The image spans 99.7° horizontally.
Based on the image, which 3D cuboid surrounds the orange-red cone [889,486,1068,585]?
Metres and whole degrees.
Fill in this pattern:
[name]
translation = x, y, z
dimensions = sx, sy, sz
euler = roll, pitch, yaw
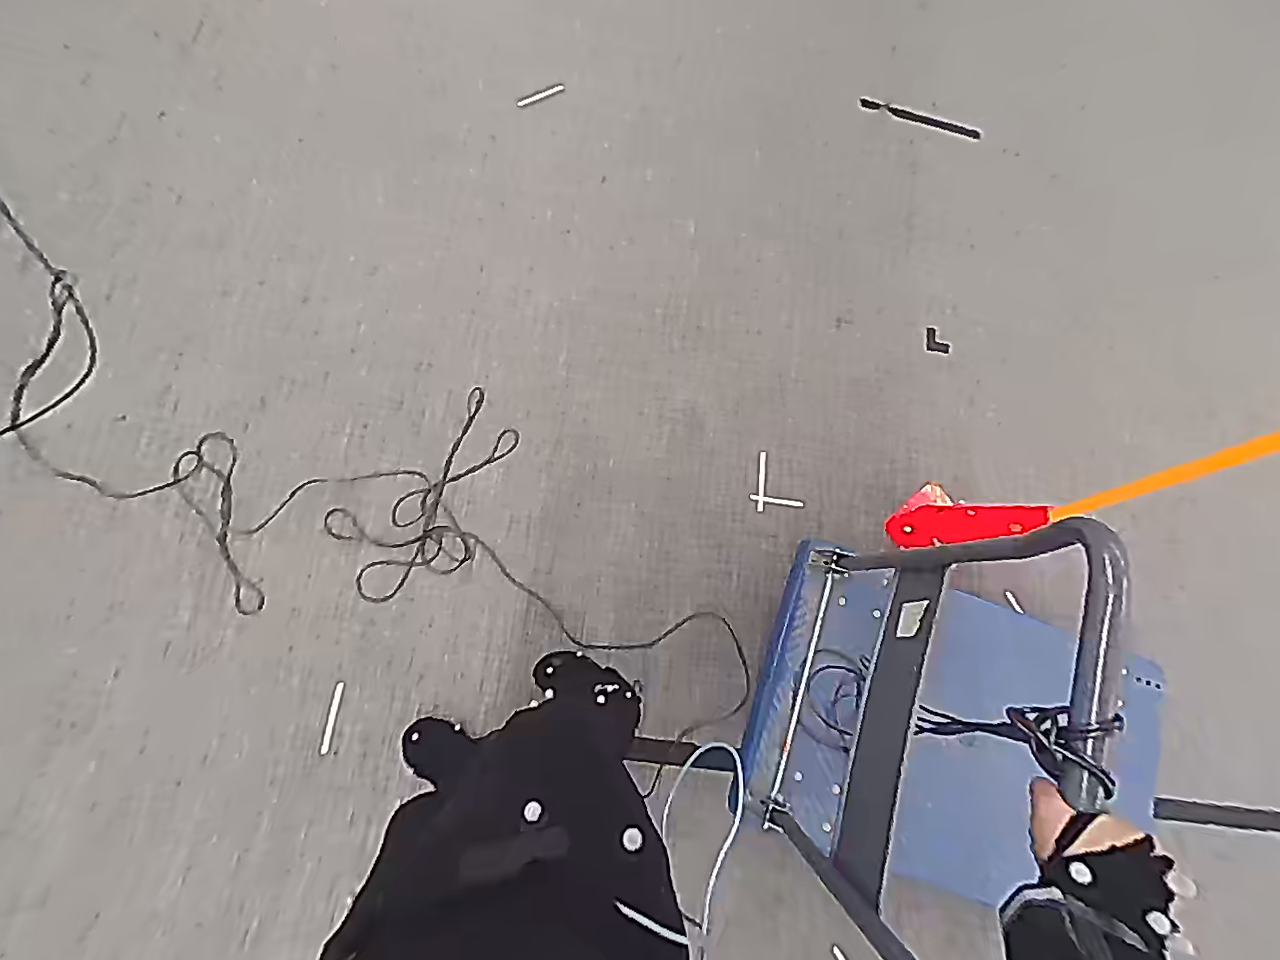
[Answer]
[orange-red cone]
translation = 0.773, 0.110, 1.200
dimensions = 0.198, 0.360, 0.199
euler = -35, 87, -13
